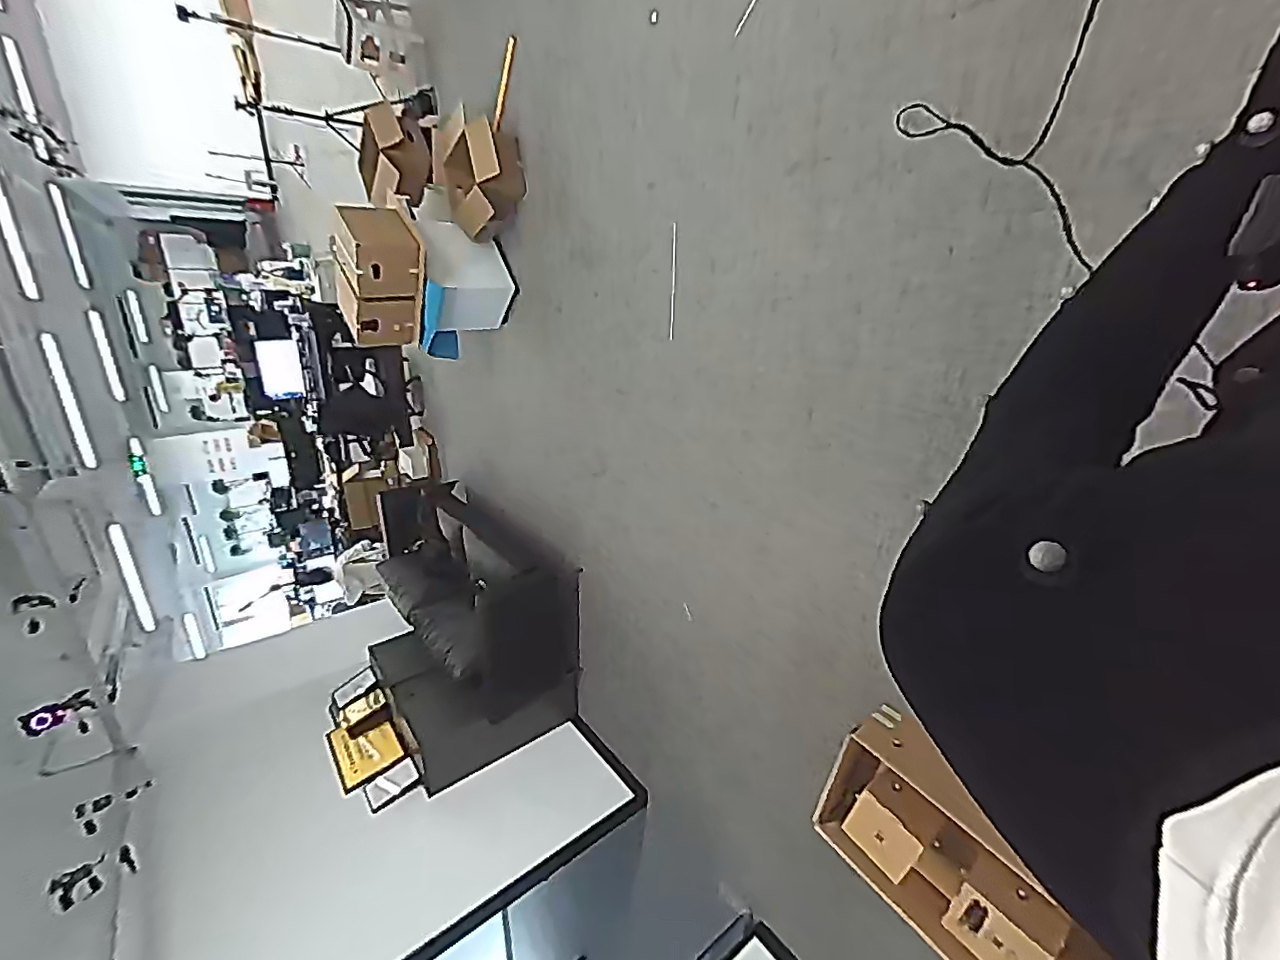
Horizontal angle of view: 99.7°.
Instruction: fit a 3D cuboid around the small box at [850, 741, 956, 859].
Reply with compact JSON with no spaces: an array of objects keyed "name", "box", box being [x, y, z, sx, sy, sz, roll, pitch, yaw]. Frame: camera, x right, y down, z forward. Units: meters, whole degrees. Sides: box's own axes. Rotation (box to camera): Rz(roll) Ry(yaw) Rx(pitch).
[{"name":"small box","box":[0.692,0.829,1.417,0.168,0.176,0.179,40,132,40]}]
